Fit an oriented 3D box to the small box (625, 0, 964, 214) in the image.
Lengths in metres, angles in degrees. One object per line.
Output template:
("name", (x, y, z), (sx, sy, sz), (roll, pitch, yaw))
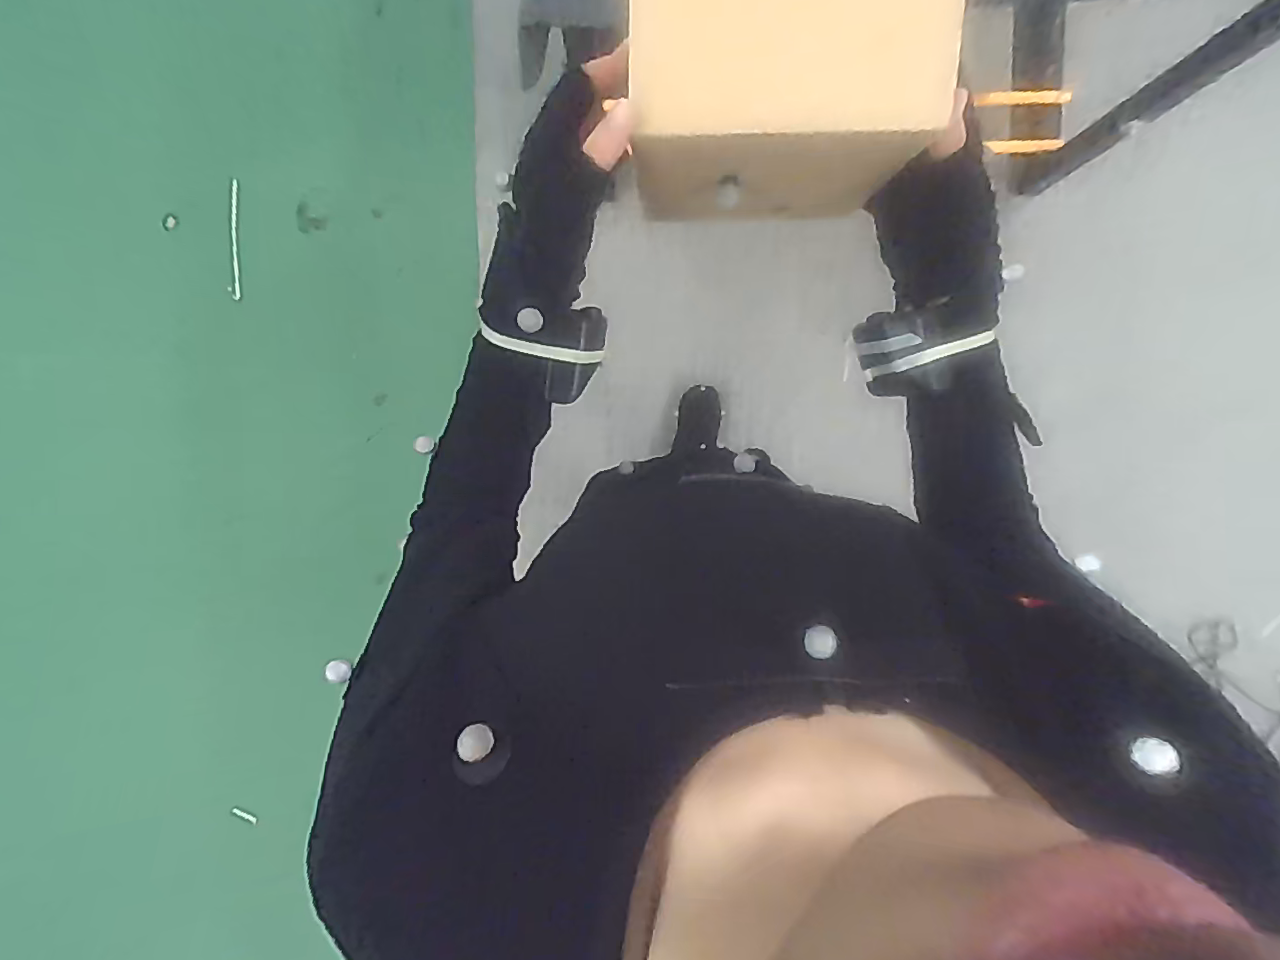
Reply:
("small box", (0.082, -0.279, 0.338), (0.168, 0.176, 0.179), (1, 100, 4))
